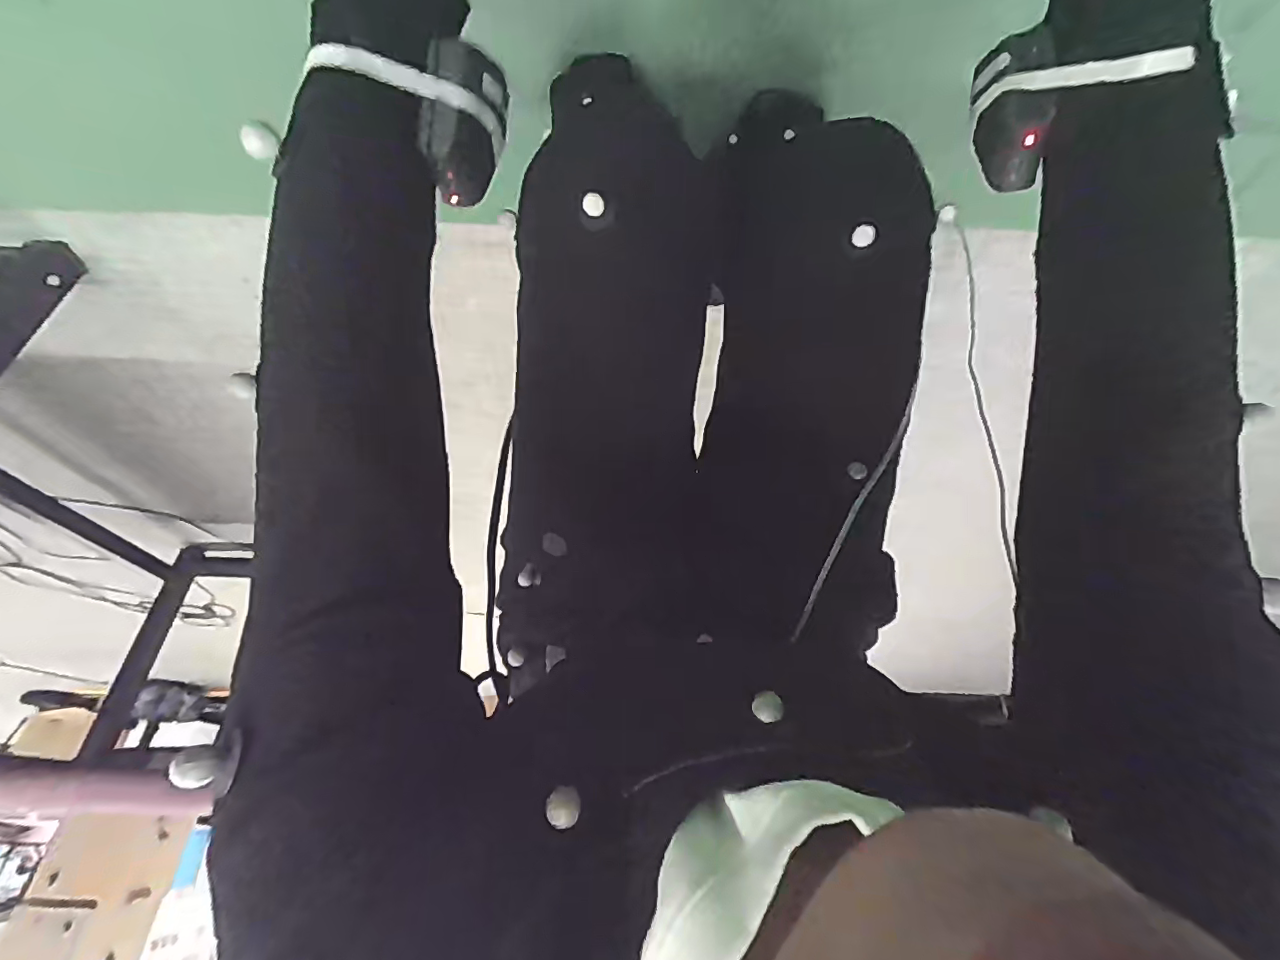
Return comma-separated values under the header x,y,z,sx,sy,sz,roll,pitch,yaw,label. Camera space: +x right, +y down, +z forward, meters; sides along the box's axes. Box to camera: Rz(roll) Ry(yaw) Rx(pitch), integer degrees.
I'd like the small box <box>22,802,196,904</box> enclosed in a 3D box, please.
x,y,z,sx,sy,sz,roll,pitch,yaw,label
-1.134,0.803,1.174,0.179,0.176,0.168,-1,148,5,small box

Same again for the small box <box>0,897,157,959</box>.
x,y,z,sx,sy,sz,roll,pitch,yaw,label
-1.142,0.941,1.079,0.168,0.176,0.179,2,147,4,small box
